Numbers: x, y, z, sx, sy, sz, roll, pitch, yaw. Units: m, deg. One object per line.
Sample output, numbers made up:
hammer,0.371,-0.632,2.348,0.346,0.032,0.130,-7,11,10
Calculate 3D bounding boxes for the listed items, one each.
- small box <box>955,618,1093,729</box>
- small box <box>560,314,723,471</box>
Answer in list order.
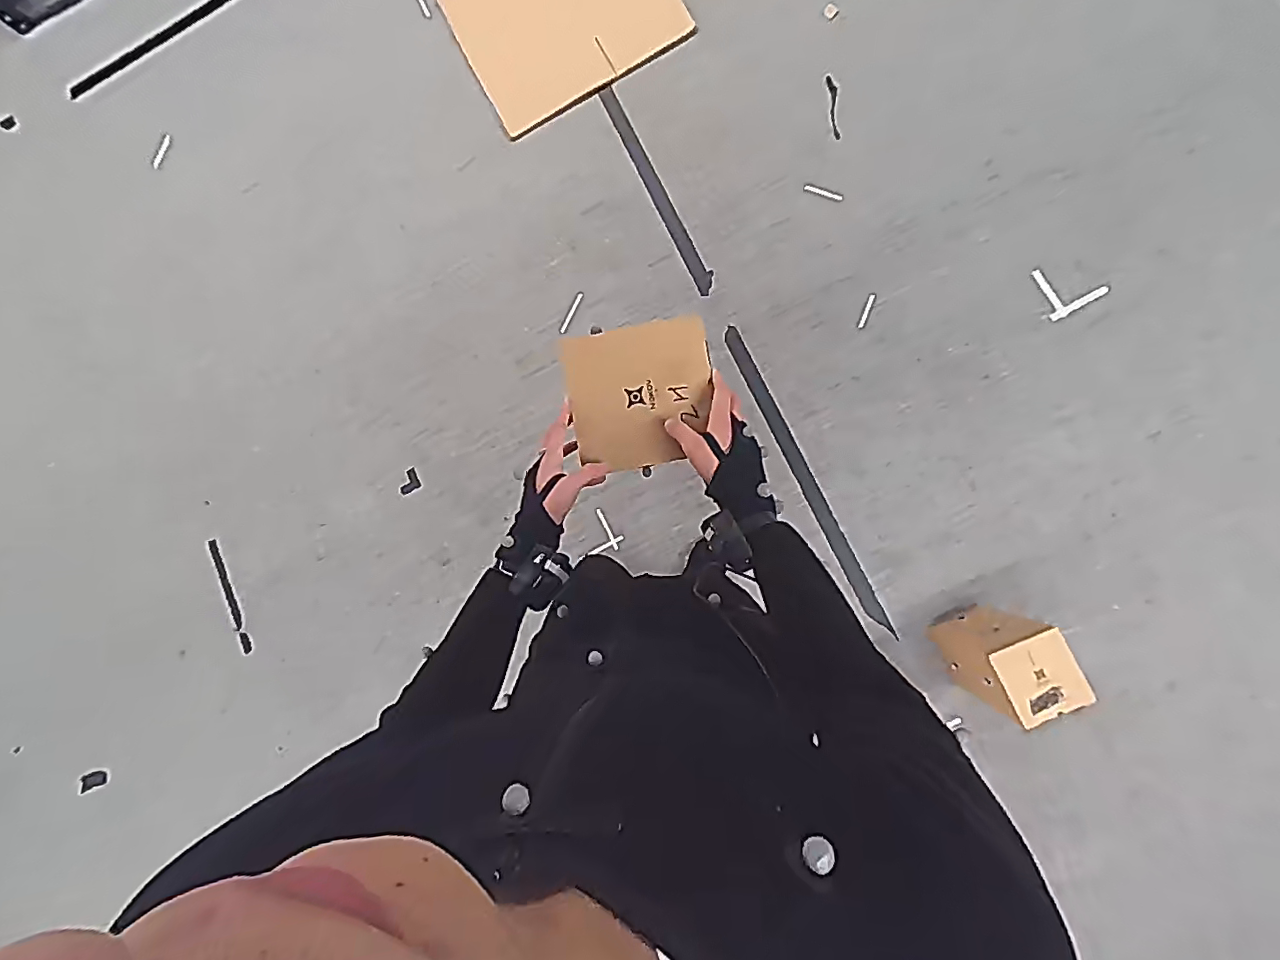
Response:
small box,0.887,0.444,1.268,0.168,0.176,0.179,-25,82,4
small box,0.003,-0.107,0.720,0.179,0.176,0.168,-10,94,0
